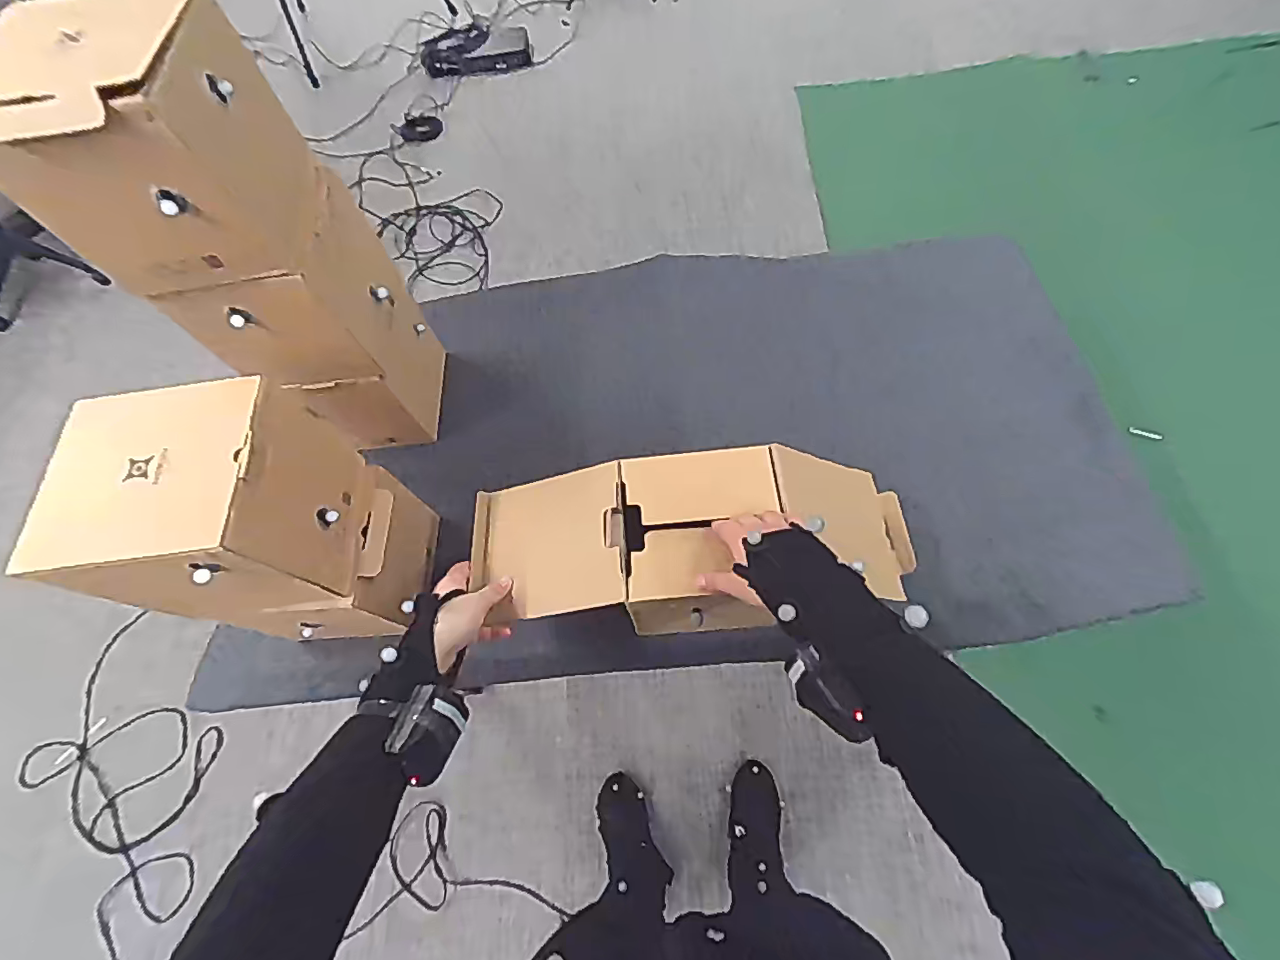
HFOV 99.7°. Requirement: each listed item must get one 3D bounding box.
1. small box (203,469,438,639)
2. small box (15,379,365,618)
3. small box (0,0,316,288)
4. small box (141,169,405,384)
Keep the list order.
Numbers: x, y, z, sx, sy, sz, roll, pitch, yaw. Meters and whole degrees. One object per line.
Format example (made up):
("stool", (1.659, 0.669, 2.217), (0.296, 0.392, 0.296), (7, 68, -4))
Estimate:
("small box", (-0.371, 0.099, 0.666), (0.179, 0.176, 0.168), (-4, 65, 4))
("small box", (-0.401, 0.028, 0.522), (0.179, 0.176, 0.168), (-8, 64, 1))
("small box", (-0.431, -0.297, 0.495), (0.168, 0.176, 0.179), (-8, 64, 0))
("small box", (-0.410, -0.229, 0.641), (0.179, 0.176, 0.168), (-5, 66, 3))
